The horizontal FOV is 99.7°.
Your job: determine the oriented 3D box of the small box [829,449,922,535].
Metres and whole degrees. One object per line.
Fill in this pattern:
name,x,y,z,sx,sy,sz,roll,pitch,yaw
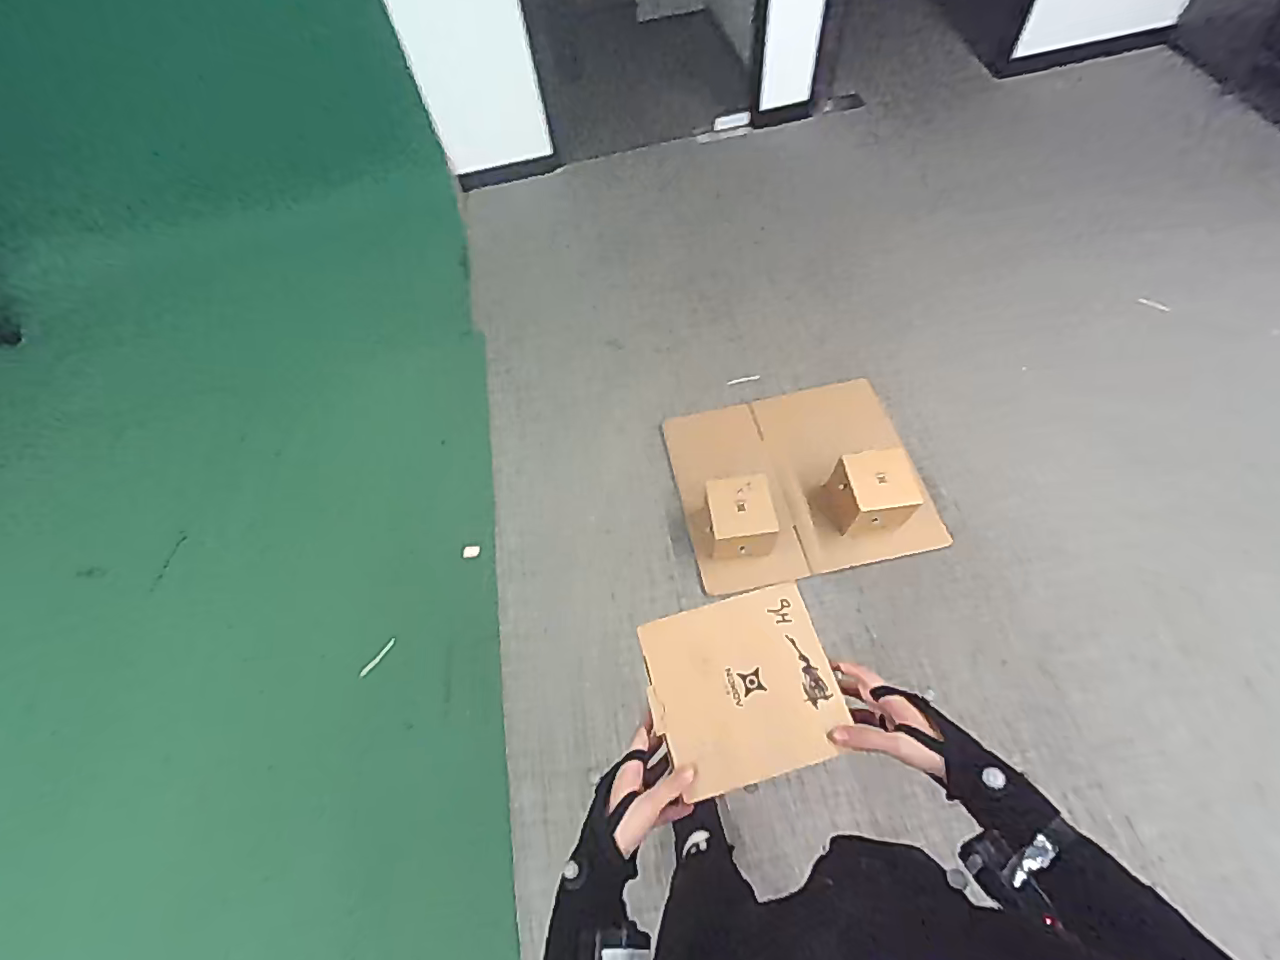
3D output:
small box,0.635,0.041,1.480,0.168,0.176,0.179,-8,60,0

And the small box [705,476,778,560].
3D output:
small box,0.271,0.111,1.477,0.168,0.176,0.179,-7,60,1
